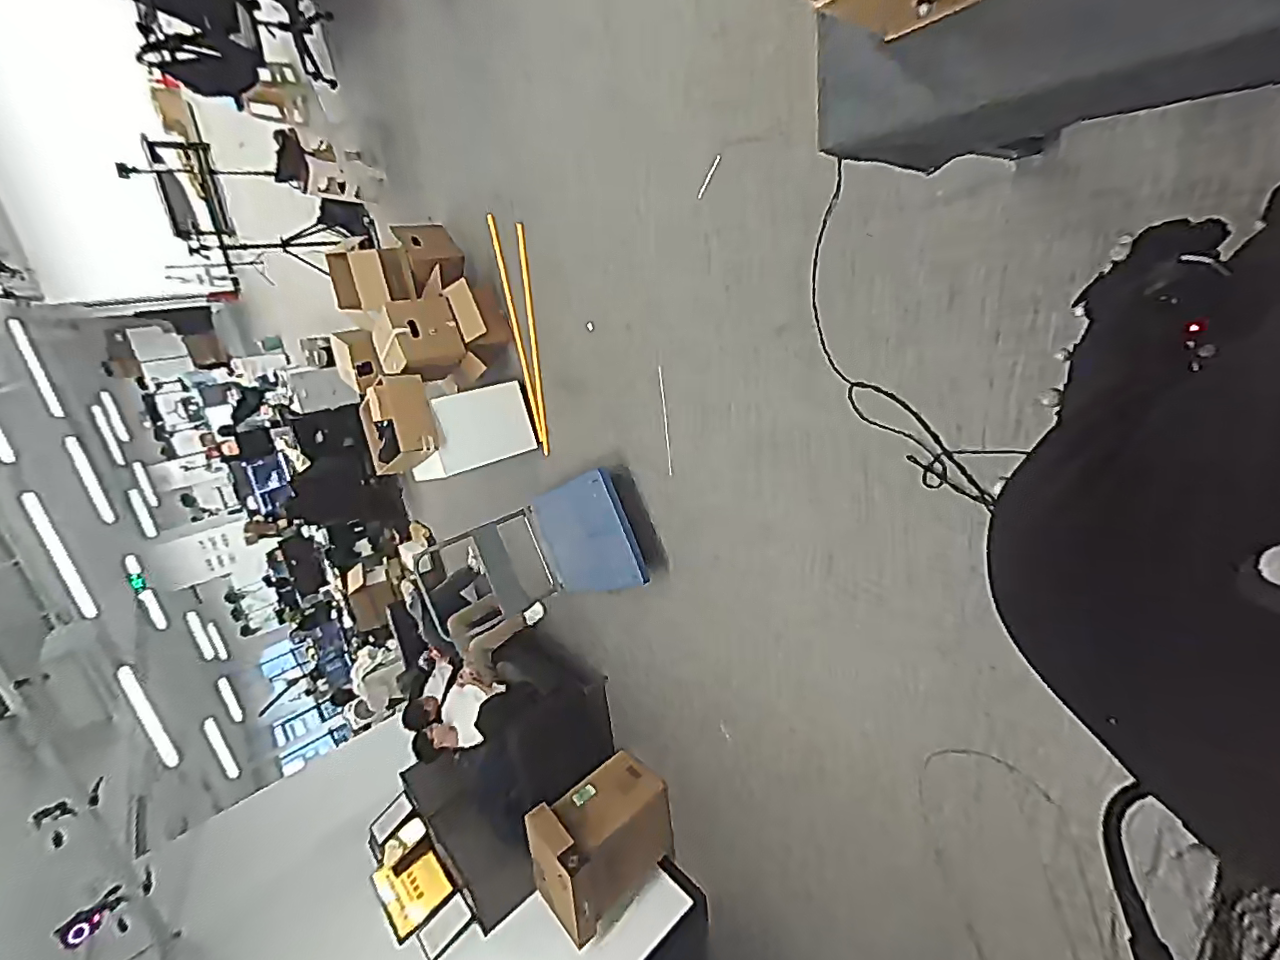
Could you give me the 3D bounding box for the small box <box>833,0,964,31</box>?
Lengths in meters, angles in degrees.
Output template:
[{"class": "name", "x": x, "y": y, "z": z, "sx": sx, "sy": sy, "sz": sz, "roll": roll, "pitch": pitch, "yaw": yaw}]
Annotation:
[{"class": "small box", "x": 0.284, "y": -0.589, "z": 0.528, "sx": 0.168, "sy": 0.176, "sz": 0.179, "roll": 13, "pitch": 118, "yaw": 47}]
